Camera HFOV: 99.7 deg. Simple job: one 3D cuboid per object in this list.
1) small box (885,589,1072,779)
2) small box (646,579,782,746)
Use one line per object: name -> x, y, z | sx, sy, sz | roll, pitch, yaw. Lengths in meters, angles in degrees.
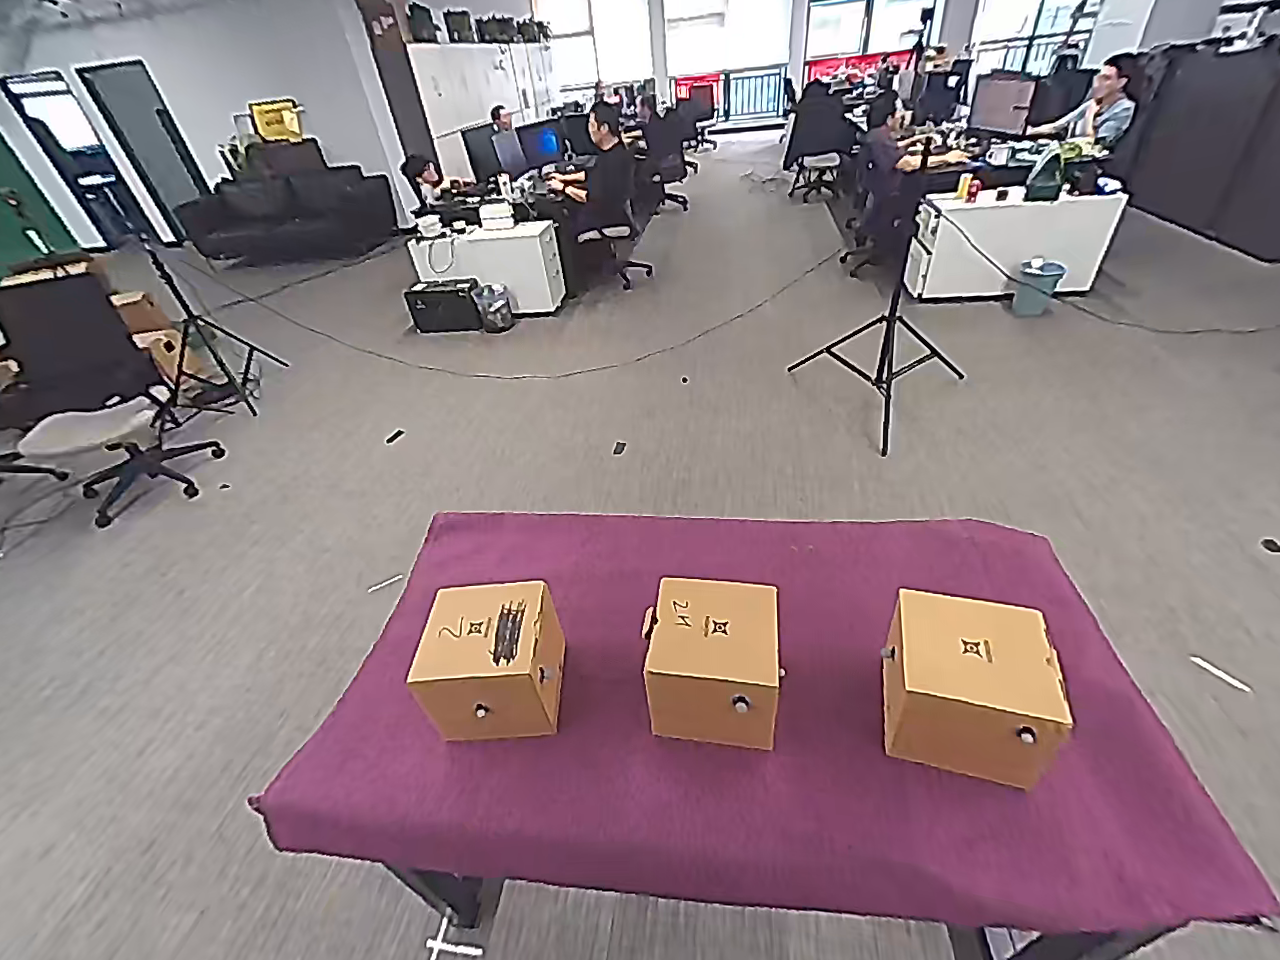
small box -> 0.438, 0.276, 0.738 | 0.179, 0.176, 0.168 | 6, 40, 18
small box -> 0.114, 0.270, 0.802 | 0.179, 0.176, 0.168 | 1, 38, 12
